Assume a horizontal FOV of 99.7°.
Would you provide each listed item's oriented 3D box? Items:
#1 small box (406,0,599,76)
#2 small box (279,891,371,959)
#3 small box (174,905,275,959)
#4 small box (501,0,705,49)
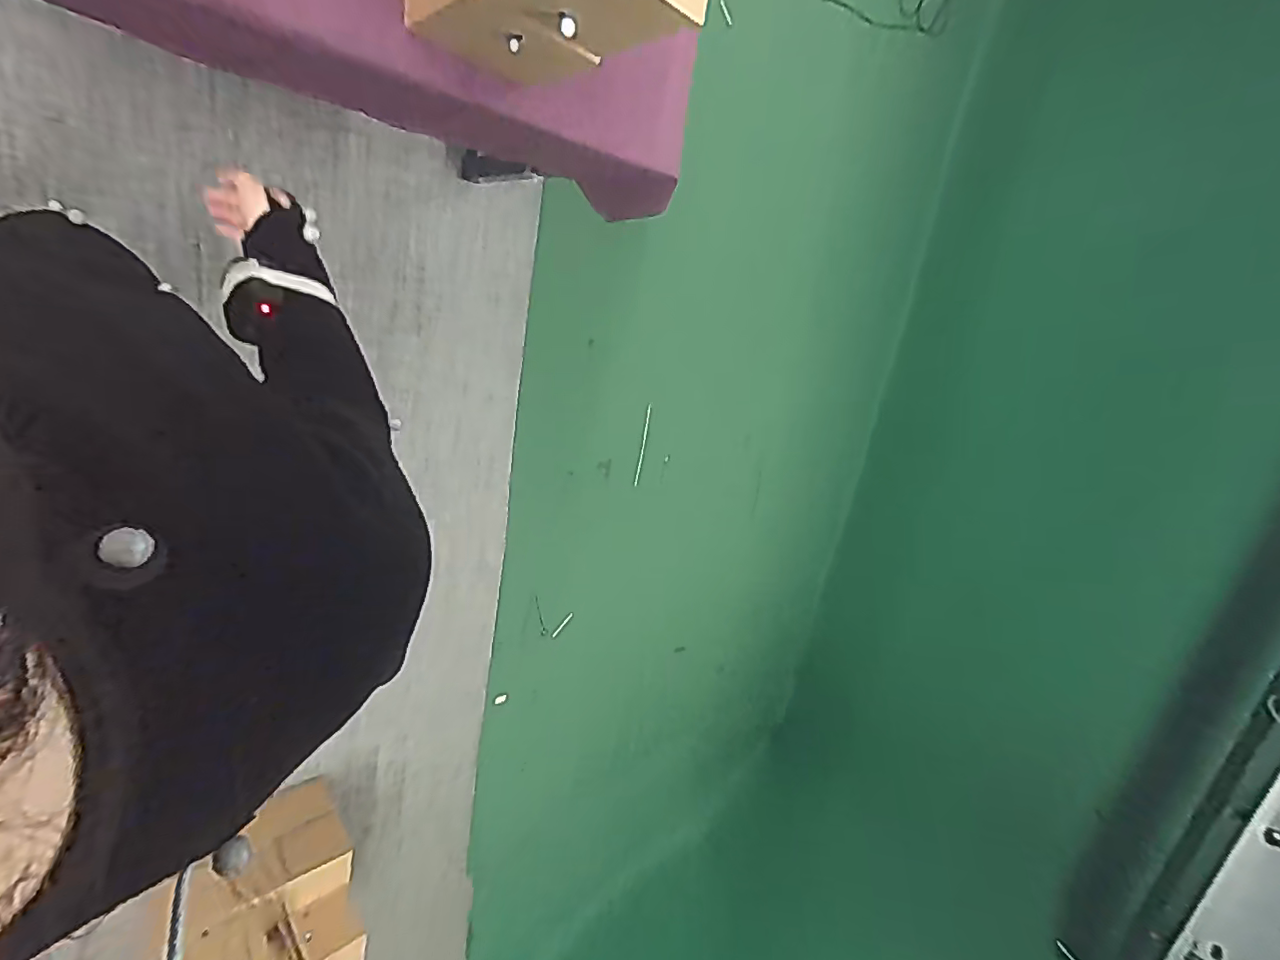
[{"bbox_3d":[-0.157,-0.609,0.633,0.179,0.176,0.168,-9,115,-45],"label":"small box"},{"bbox_3d":[-0.843,1.249,1.441,0.168,0.176,0.179,-3,112,-47],"label":"small box"},{"bbox_3d":[-0.965,1.154,1.251,0.168,0.176,0.179,0,110,-48],"label":"small box"},{"bbox_3d":[-0.040,-0.566,0.525,0.168,0.176,0.179,-12,117,-44],"label":"small box"}]
